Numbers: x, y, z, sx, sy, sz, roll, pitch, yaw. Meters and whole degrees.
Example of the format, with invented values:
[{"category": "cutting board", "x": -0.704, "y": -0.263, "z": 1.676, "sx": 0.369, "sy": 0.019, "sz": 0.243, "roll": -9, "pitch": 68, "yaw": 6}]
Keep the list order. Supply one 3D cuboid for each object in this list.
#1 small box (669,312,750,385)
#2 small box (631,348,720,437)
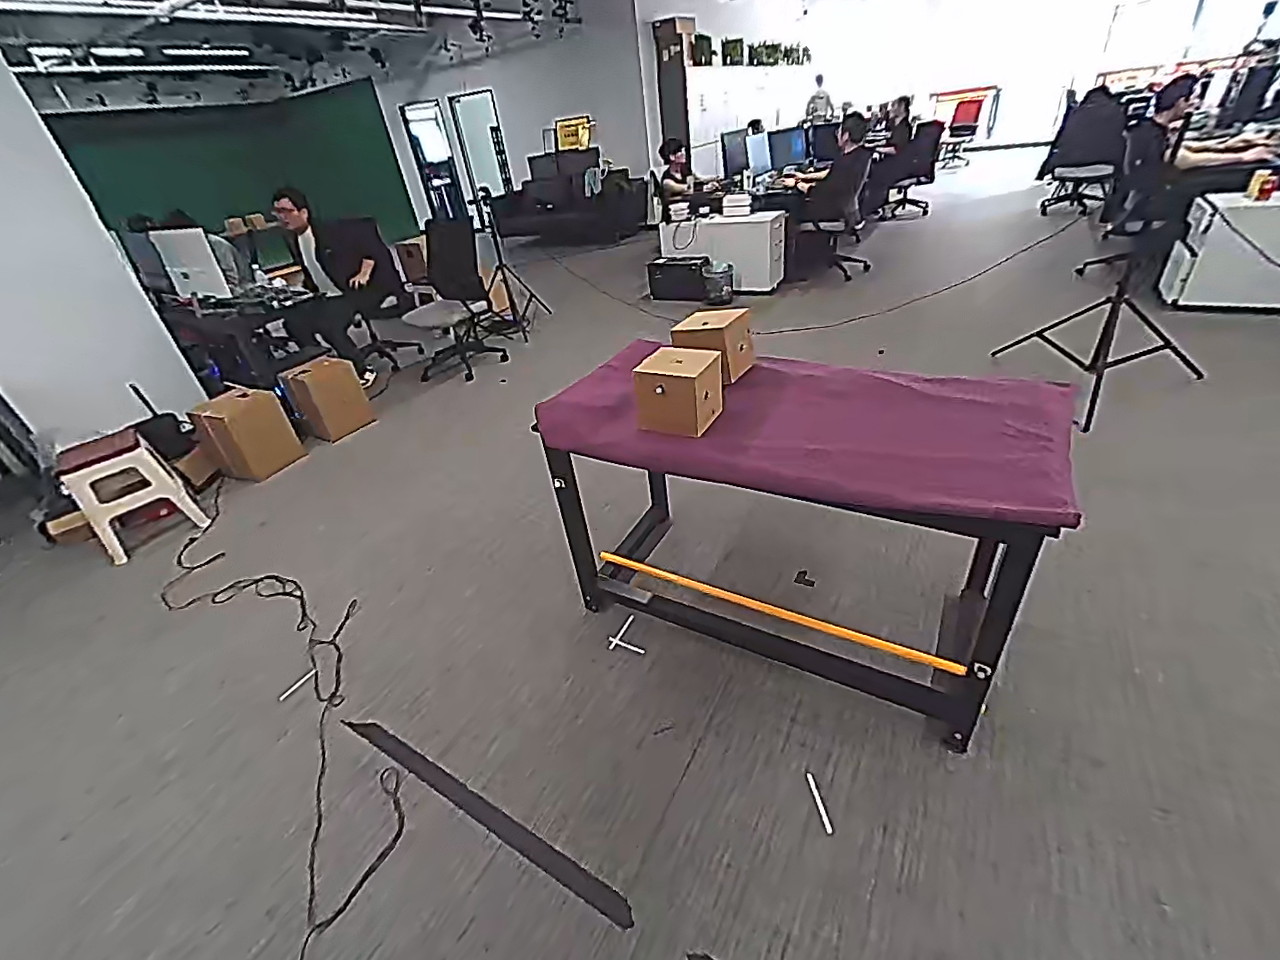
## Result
[{"category": "small box", "x": 0.213, "y": -0.387, "z": 1.584, "sx": 0.179, "sy": 0.168, "sz": 0.176, "roll": 8, "pitch": 35, "yaw": 35}, {"category": "small box", "x": 0.100, "y": -0.225, "z": 1.392, "sx": 0.179, "sy": 0.176, "sz": 0.168, "roll": 11, "pitch": 38, "yaw": 27}]
